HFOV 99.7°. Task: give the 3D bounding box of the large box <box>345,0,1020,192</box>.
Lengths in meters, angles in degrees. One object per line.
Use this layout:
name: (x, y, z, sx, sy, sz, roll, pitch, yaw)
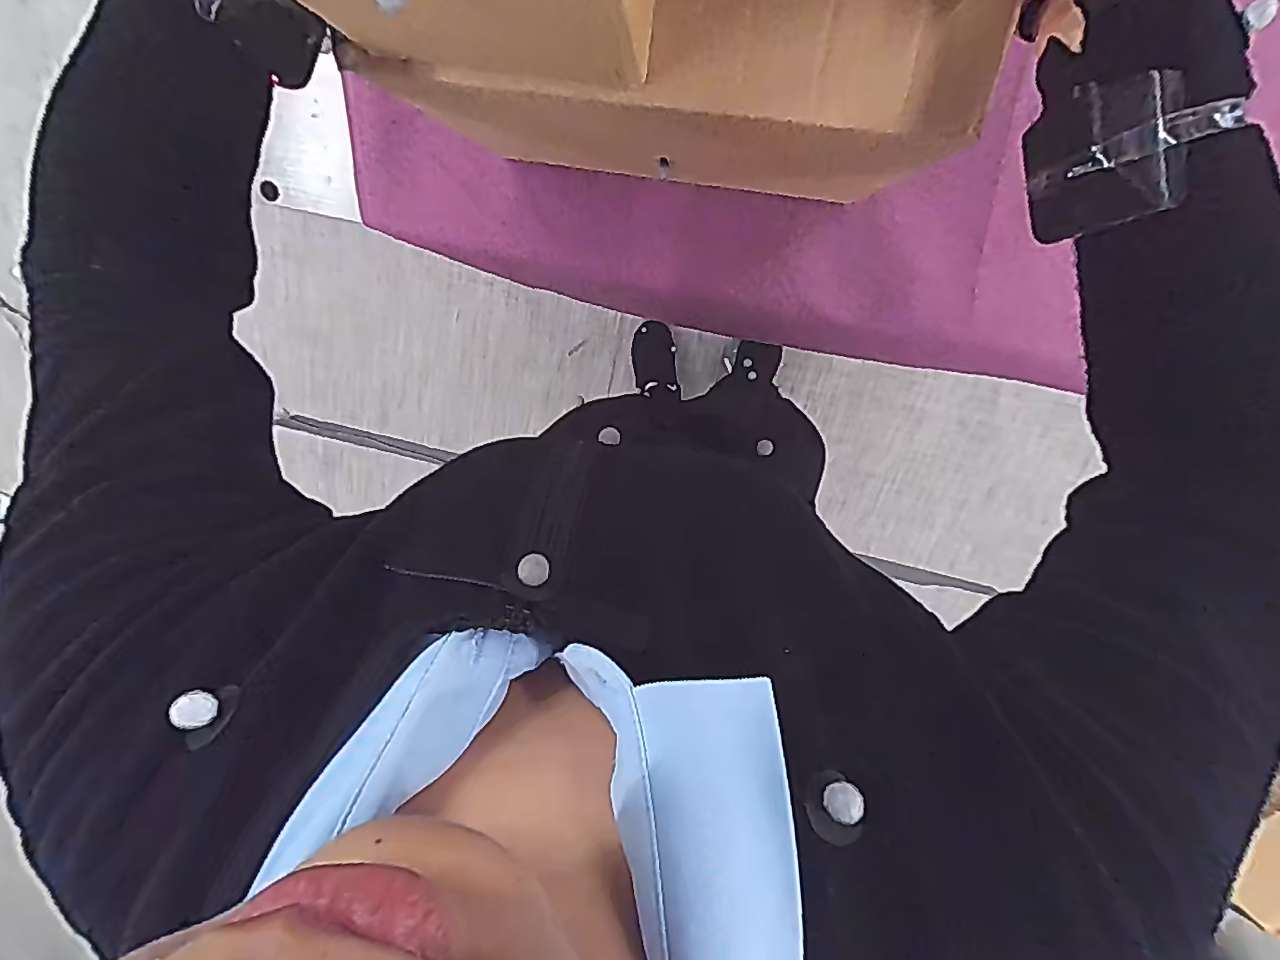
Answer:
large box: (0.044, -0.428, 0.418, 0.408, 0.320, 0.320, 9, 110, 5)
